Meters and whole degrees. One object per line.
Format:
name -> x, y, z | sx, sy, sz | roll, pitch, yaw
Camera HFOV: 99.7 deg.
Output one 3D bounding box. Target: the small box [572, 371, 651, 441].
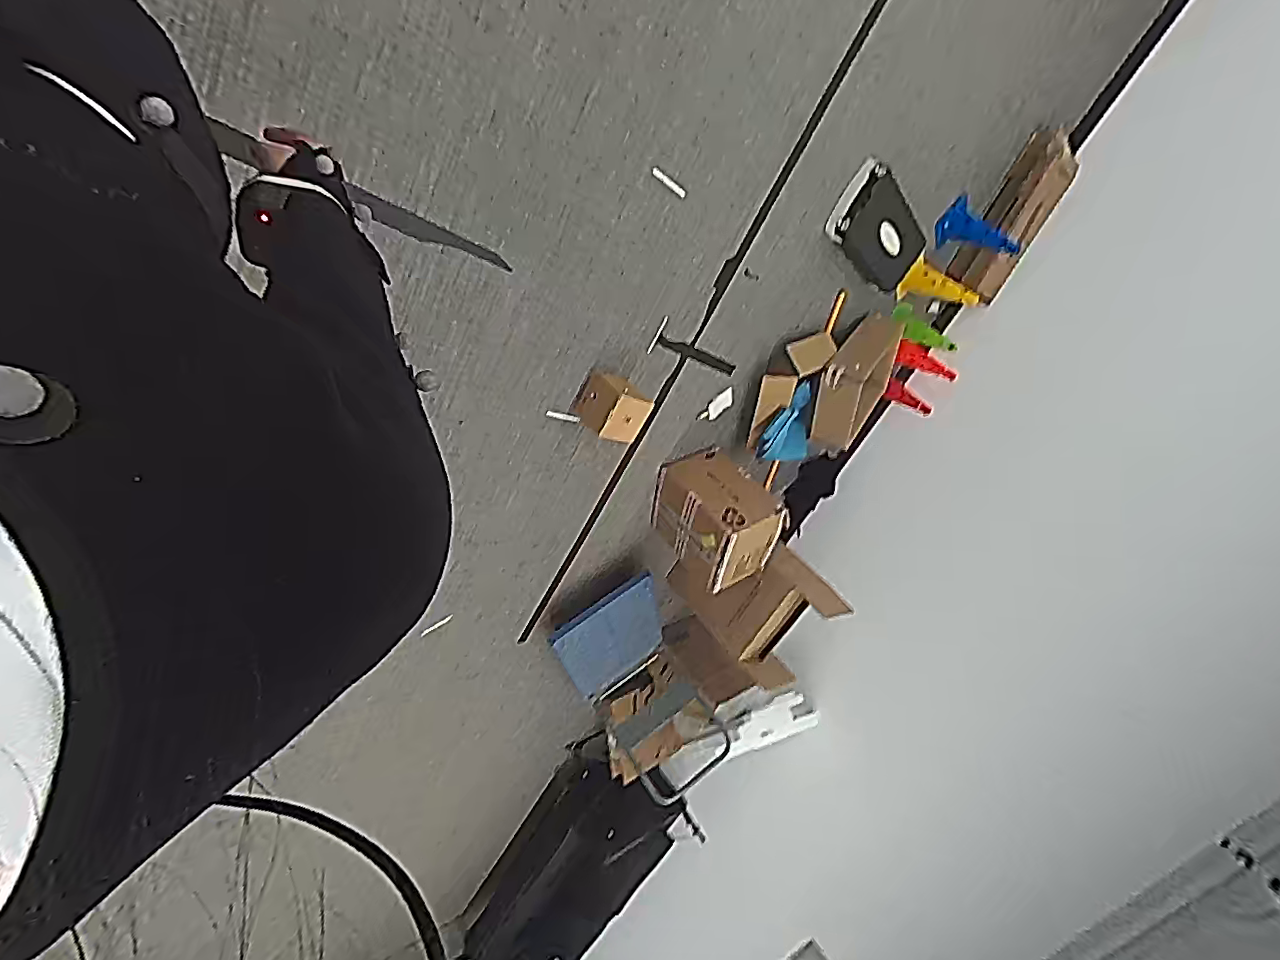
small box -> -0.102, -0.260, 1.892 | 0.179, 0.176, 0.168 | 7, 121, -49
